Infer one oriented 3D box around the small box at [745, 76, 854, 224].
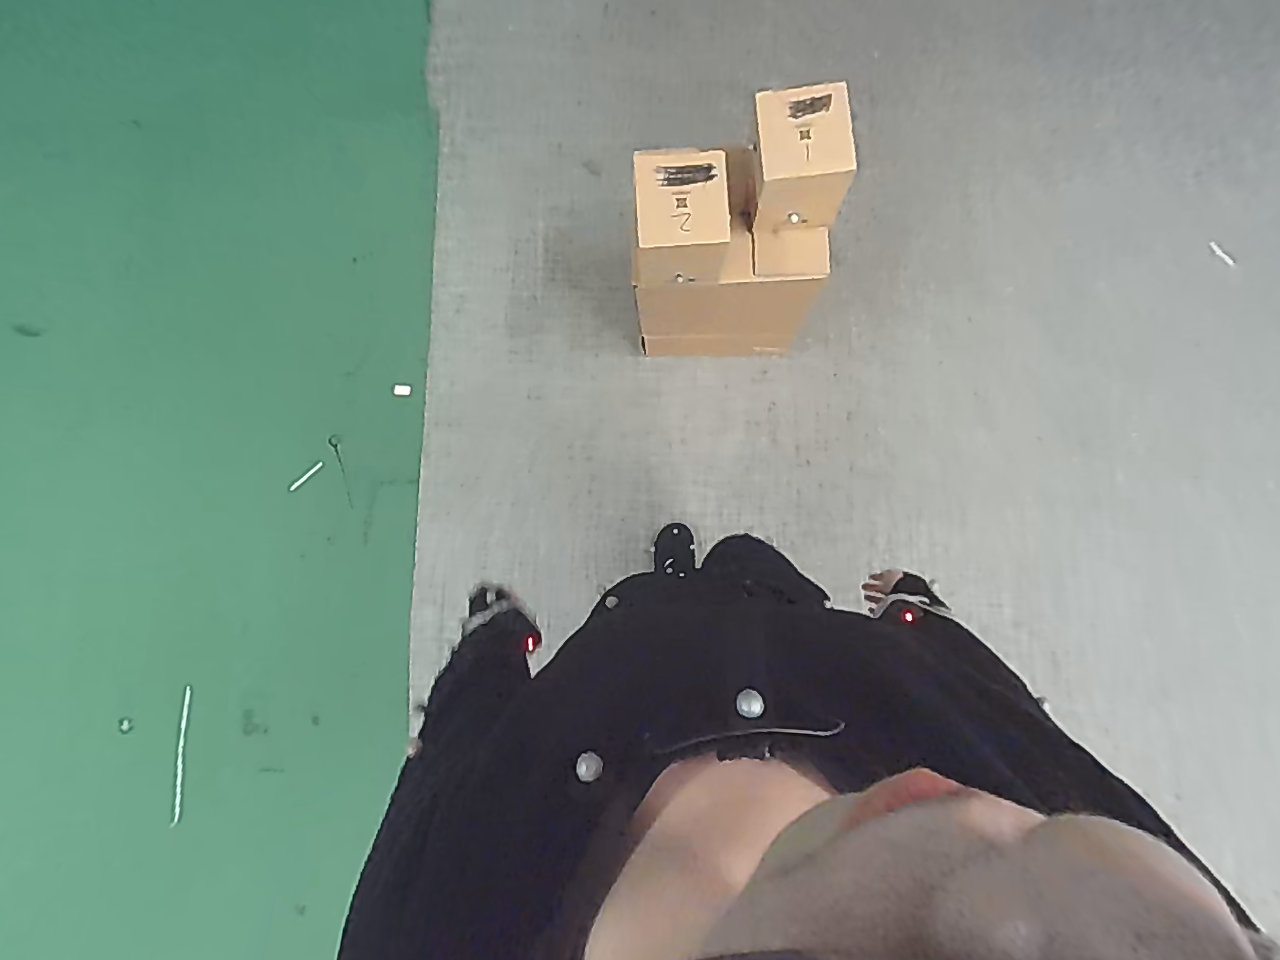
[{"bbox_3d":[0.299,-0.629,1.047,0.168,0.176,0.179,-4,86,4],"label":"small box"}]
